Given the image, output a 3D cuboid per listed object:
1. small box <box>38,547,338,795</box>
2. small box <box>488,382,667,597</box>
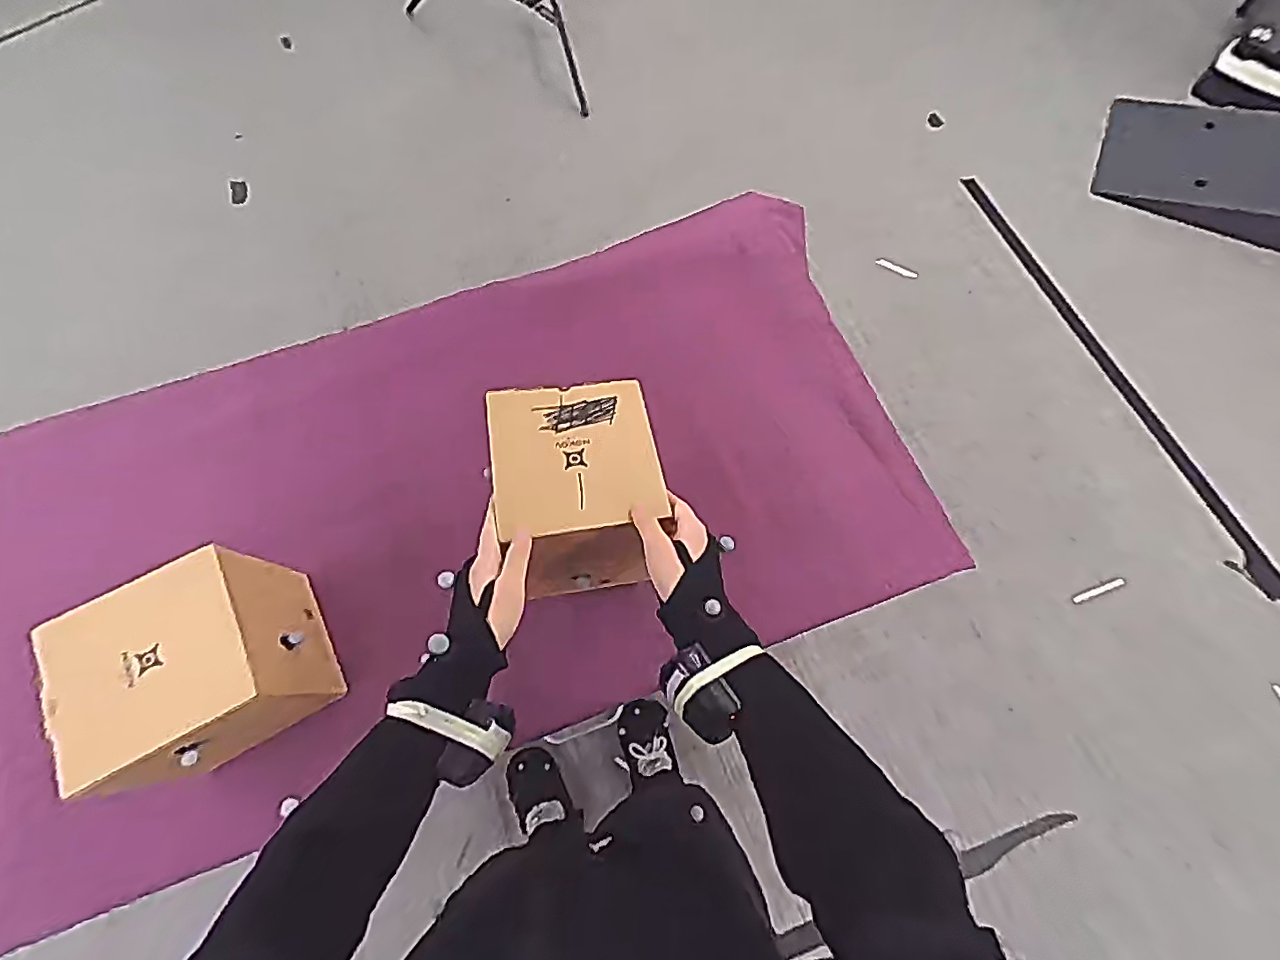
[{"bbox_3d":[-0.460,0.196,0.582,0.179,0.176,0.168,-28,73,-9],"label":"small box"},{"bbox_3d":[-0.078,0.013,0.609,0.168,0.176,0.179,-6,60,-11],"label":"small box"}]
